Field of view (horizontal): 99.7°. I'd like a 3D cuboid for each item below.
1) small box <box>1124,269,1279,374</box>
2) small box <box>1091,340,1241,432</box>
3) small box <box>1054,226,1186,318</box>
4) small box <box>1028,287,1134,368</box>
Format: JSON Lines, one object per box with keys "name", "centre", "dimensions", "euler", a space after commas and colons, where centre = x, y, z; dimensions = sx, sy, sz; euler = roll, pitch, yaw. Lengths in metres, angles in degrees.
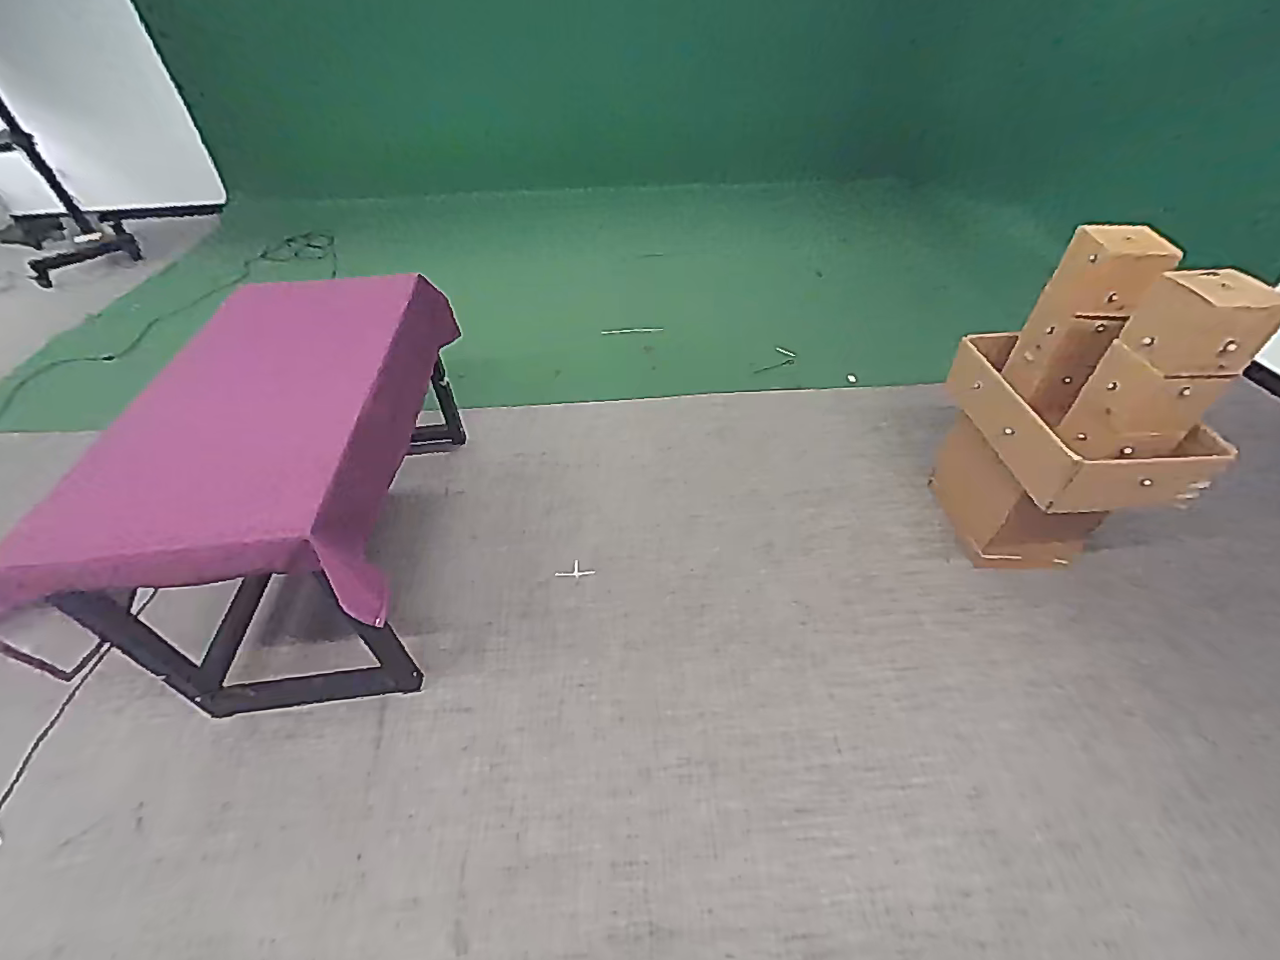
{"name": "small box", "centre": [1.246, -0.346, 1.194], "dimensions": [0.168, 0.176, 0.179], "euler": [-2, 44, 2]}
{"name": "small box", "centre": [1.250, -0.228, 1.310], "dimensions": [0.179, 0.176, 0.168], "euler": [-2, 44, 1]}
{"name": "small box", "centre": [1.231, -0.542, 1.408], "dimensions": [0.168, 0.176, 0.179], "euler": [3, 46, 6]}
{"name": "small box", "centre": [1.241, -0.430, 1.525], "dimensions": [0.179, 0.176, 0.168], "euler": [2, 45, 3]}
